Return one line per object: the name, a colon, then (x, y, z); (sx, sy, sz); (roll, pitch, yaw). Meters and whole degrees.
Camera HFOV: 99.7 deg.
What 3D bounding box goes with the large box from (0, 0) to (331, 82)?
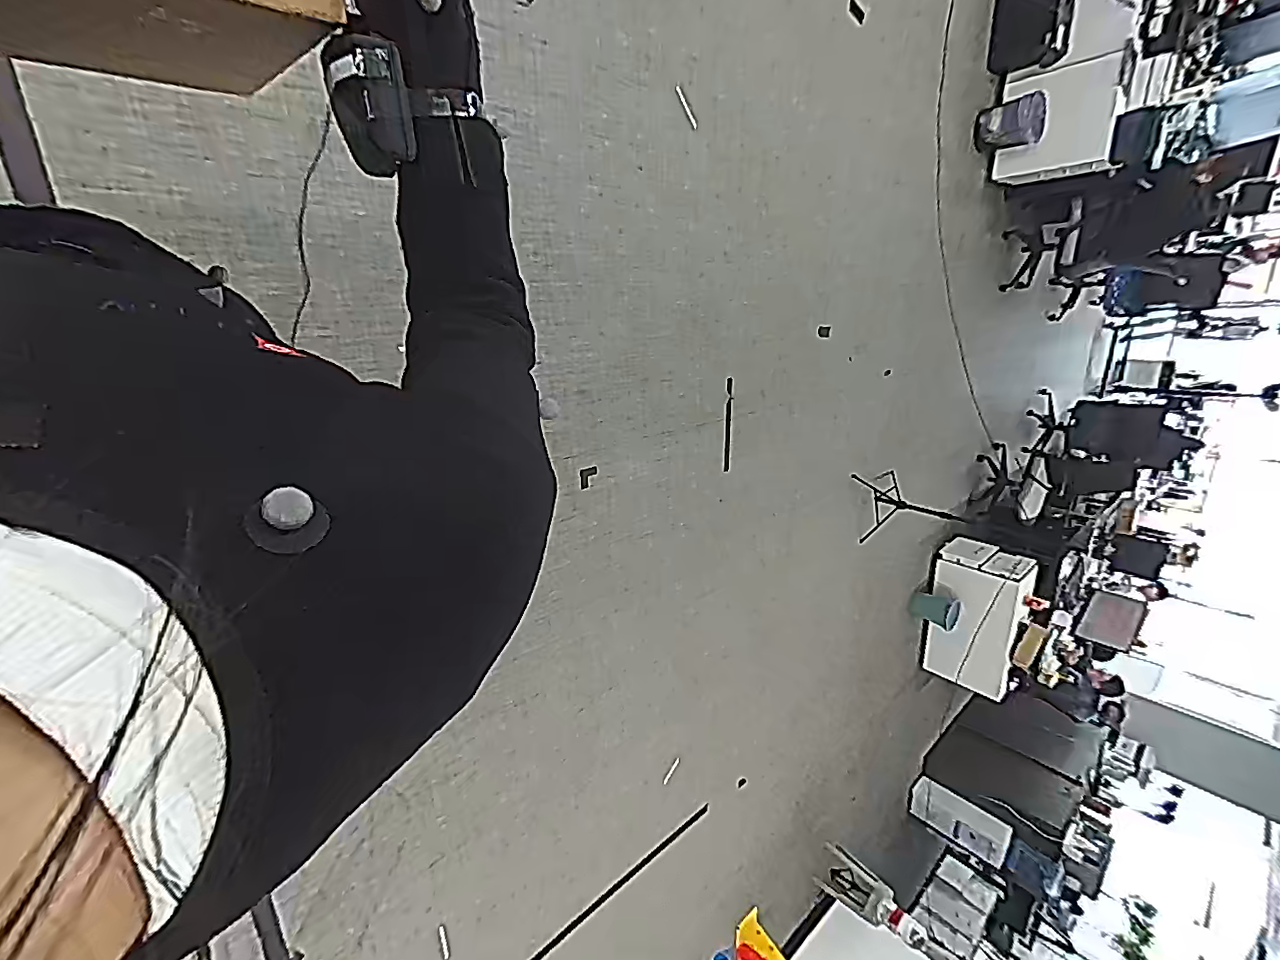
large box: (-0.414, -0.402, 0.220); (0.408, 0.320, 0.320); (-19, 124, -38)
